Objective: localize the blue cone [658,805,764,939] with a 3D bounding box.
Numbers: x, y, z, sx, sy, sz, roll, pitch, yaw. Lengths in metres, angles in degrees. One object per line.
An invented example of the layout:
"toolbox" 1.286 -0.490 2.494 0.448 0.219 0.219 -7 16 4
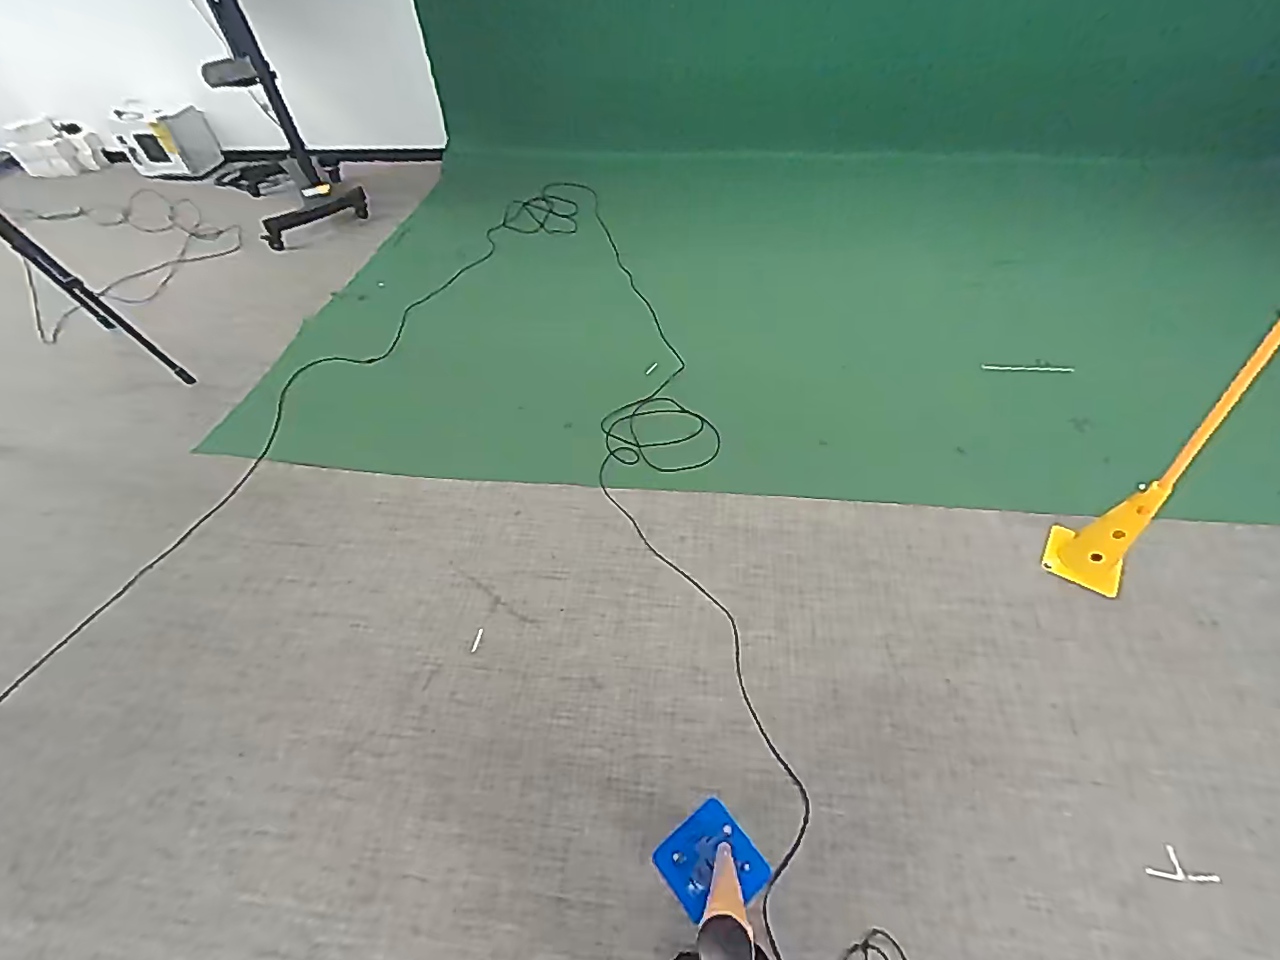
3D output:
"blue cone" 0.149 0.756 1.063 0.193 0.380 0.192 -34 57 -22
